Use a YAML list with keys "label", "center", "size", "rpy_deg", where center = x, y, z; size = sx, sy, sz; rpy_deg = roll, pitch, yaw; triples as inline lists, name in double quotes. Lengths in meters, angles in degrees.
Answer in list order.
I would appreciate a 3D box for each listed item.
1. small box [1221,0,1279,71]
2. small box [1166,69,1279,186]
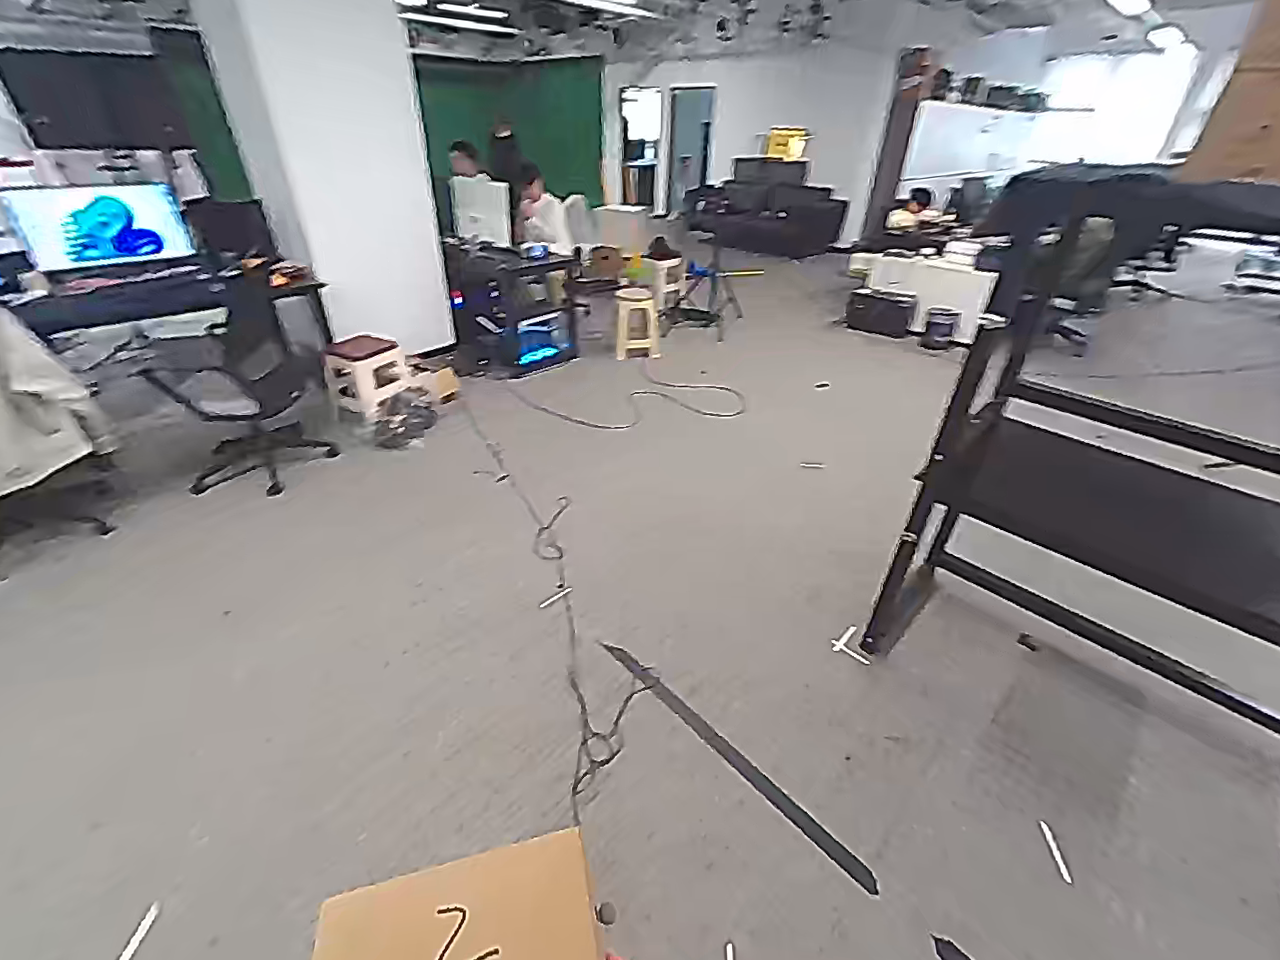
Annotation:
- label: "small box"
  center: [1.118, -0.776, 0.896]
  size: [0.168, 0.176, 0.179]
  rpy_deg: [26, 39, 33]
- label: "small box"
  center: [1.107, -0.637, 0.984]
  size: [0.168, 0.176, 0.179]
  rpy_deg: [27, 40, 32]
